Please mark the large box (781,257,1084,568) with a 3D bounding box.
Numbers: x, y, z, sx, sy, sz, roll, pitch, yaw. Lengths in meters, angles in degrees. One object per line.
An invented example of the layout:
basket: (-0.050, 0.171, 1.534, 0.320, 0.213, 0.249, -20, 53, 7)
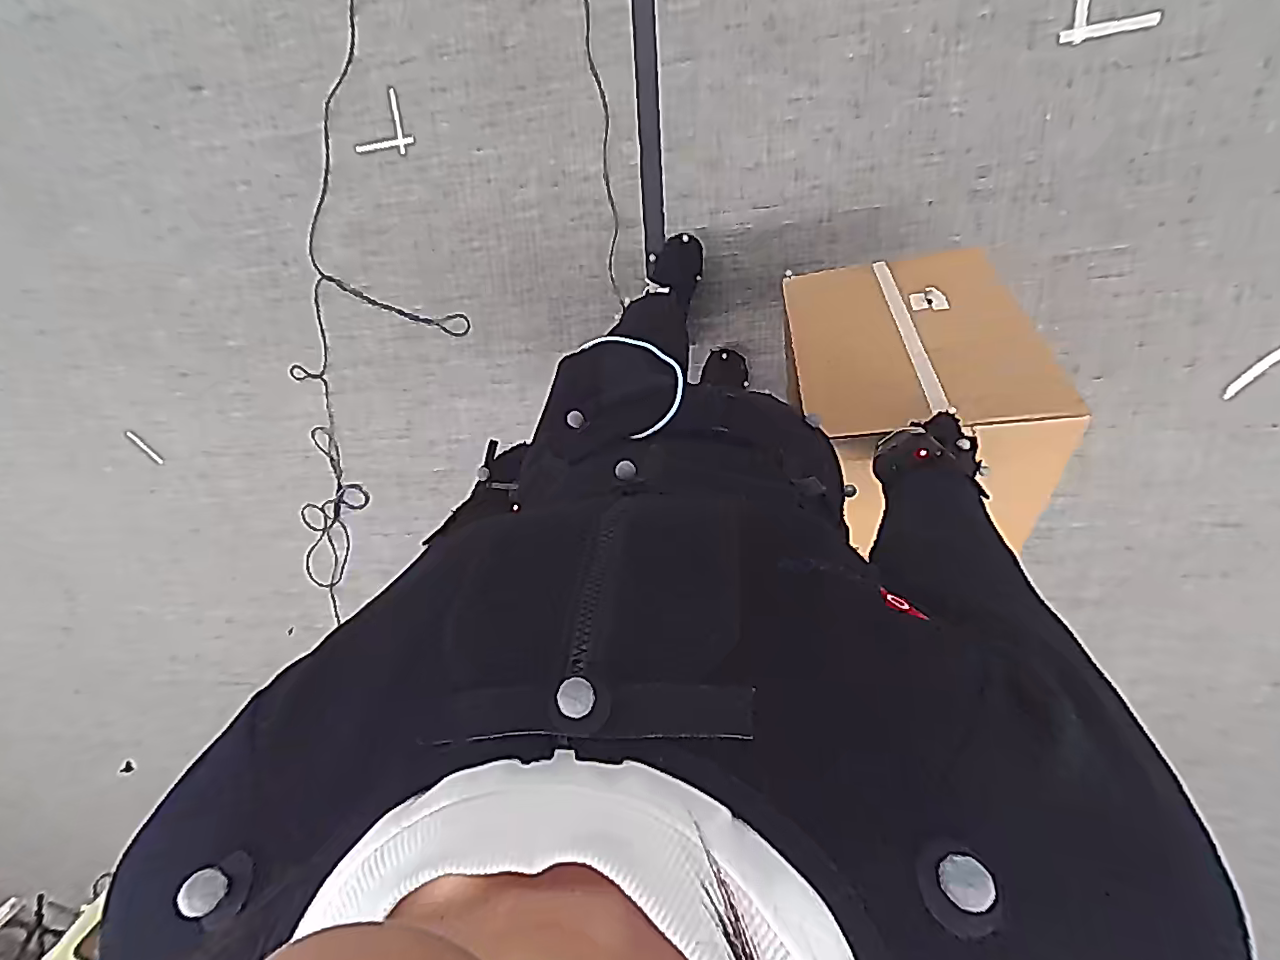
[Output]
large box: (0.419, -0.109, 0.899, 0.320, 0.408, 0.320, -5, 136, 11)
